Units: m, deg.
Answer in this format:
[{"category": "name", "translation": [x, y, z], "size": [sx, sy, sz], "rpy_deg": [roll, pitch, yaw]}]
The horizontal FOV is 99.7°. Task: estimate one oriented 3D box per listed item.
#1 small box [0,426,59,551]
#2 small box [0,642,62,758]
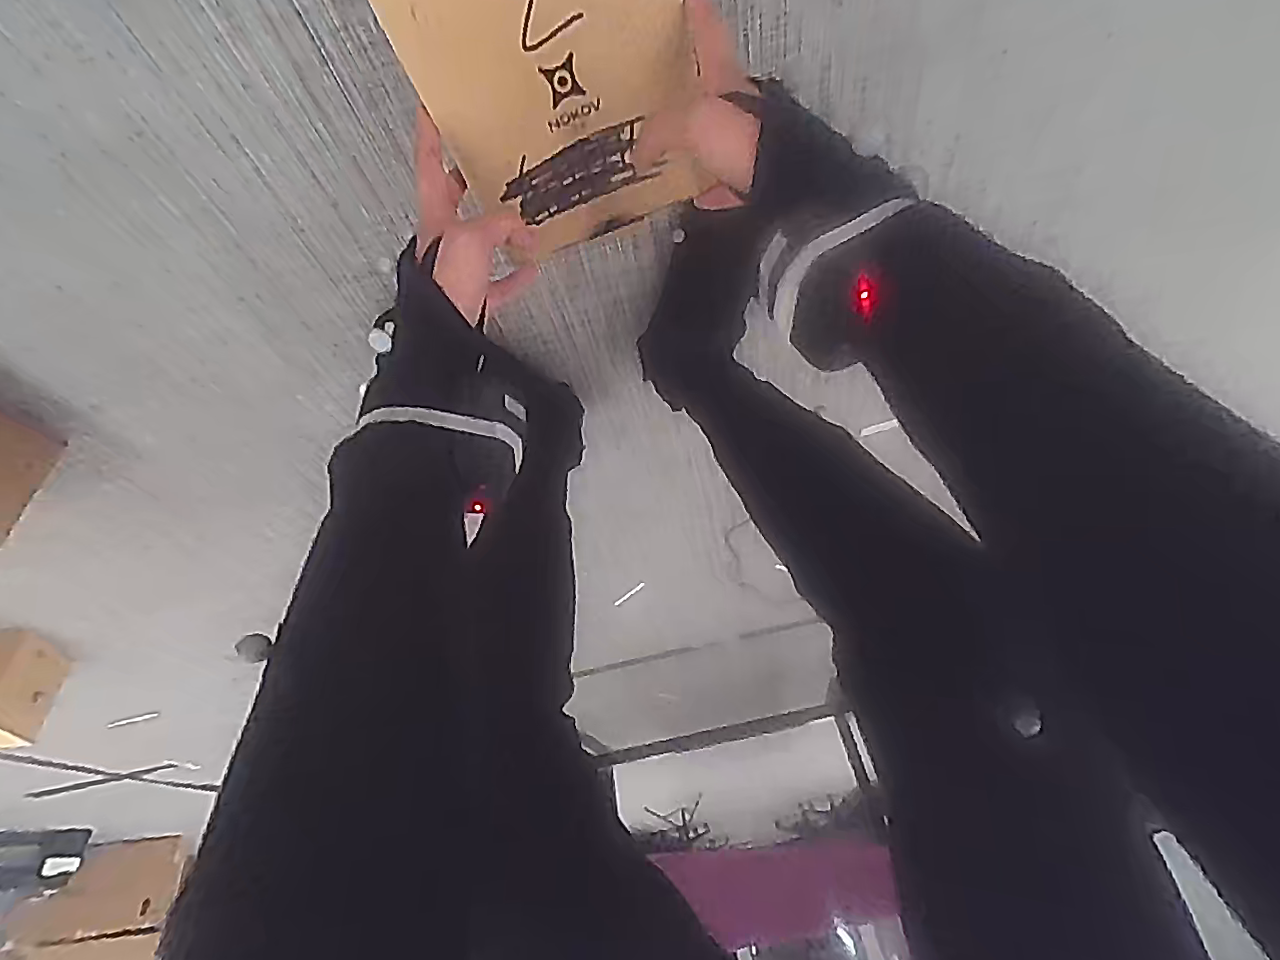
[{"category": "small box", "translation": [-0.849, 0.010, 0.612], "size": [0.168, 0.176, 0.179], "rpy_deg": [-21, 141, 11]}, {"category": "small box", "translation": [-1.244, 0.411, 1.003], "size": [0.179, 0.176, 0.168], "rpy_deg": [3, 139, -17]}]
